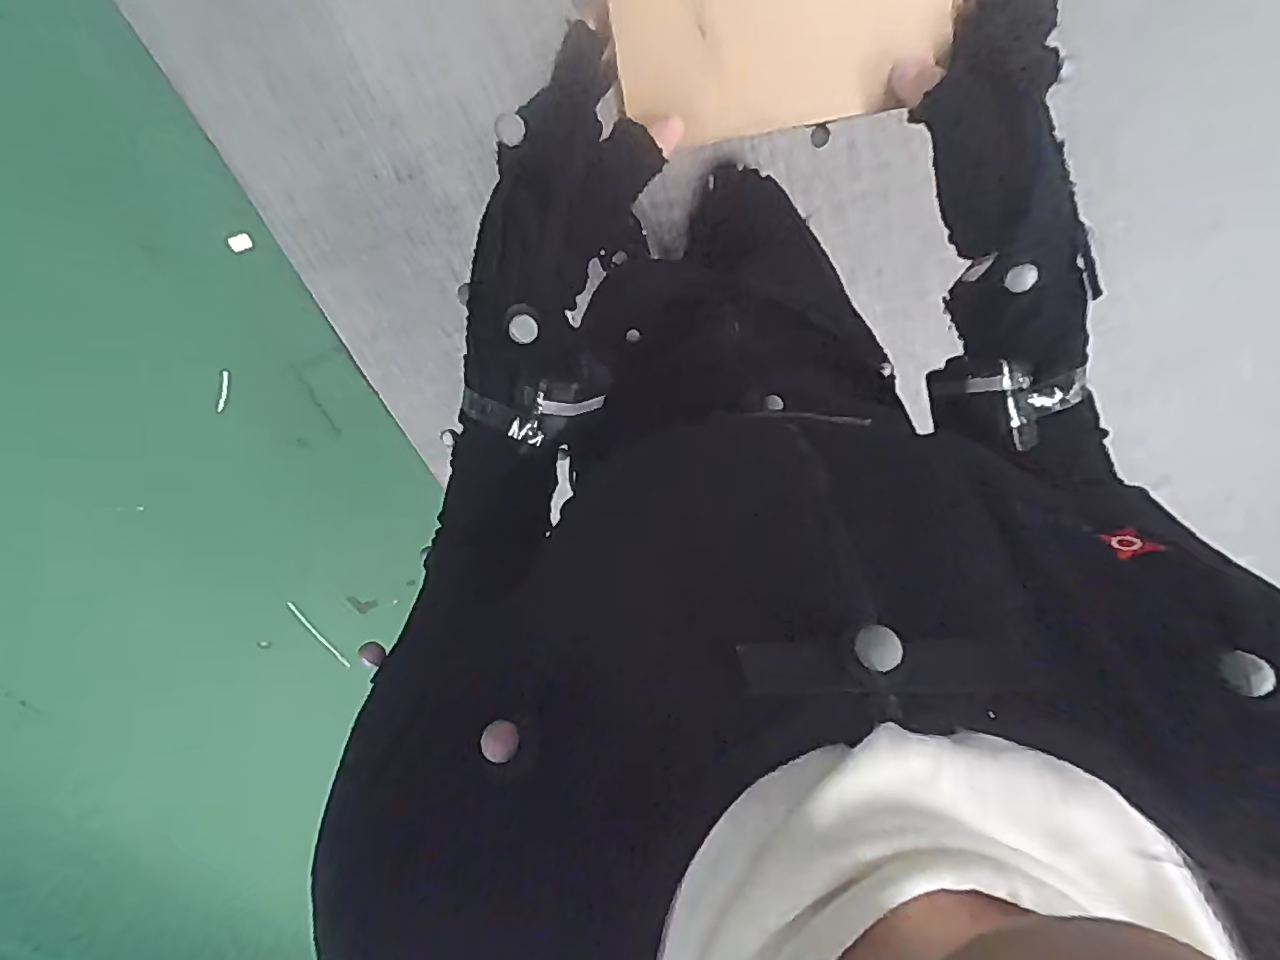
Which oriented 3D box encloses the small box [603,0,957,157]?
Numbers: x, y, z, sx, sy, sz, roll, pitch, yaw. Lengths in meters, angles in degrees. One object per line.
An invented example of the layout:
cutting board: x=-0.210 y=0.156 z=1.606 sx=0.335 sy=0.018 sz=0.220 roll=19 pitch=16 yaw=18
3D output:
small box: x=0.066 y=-0.306 z=0.326 sx=0.179 sy=0.176 sz=0.168 roll=-10 pitch=120 yaw=4
